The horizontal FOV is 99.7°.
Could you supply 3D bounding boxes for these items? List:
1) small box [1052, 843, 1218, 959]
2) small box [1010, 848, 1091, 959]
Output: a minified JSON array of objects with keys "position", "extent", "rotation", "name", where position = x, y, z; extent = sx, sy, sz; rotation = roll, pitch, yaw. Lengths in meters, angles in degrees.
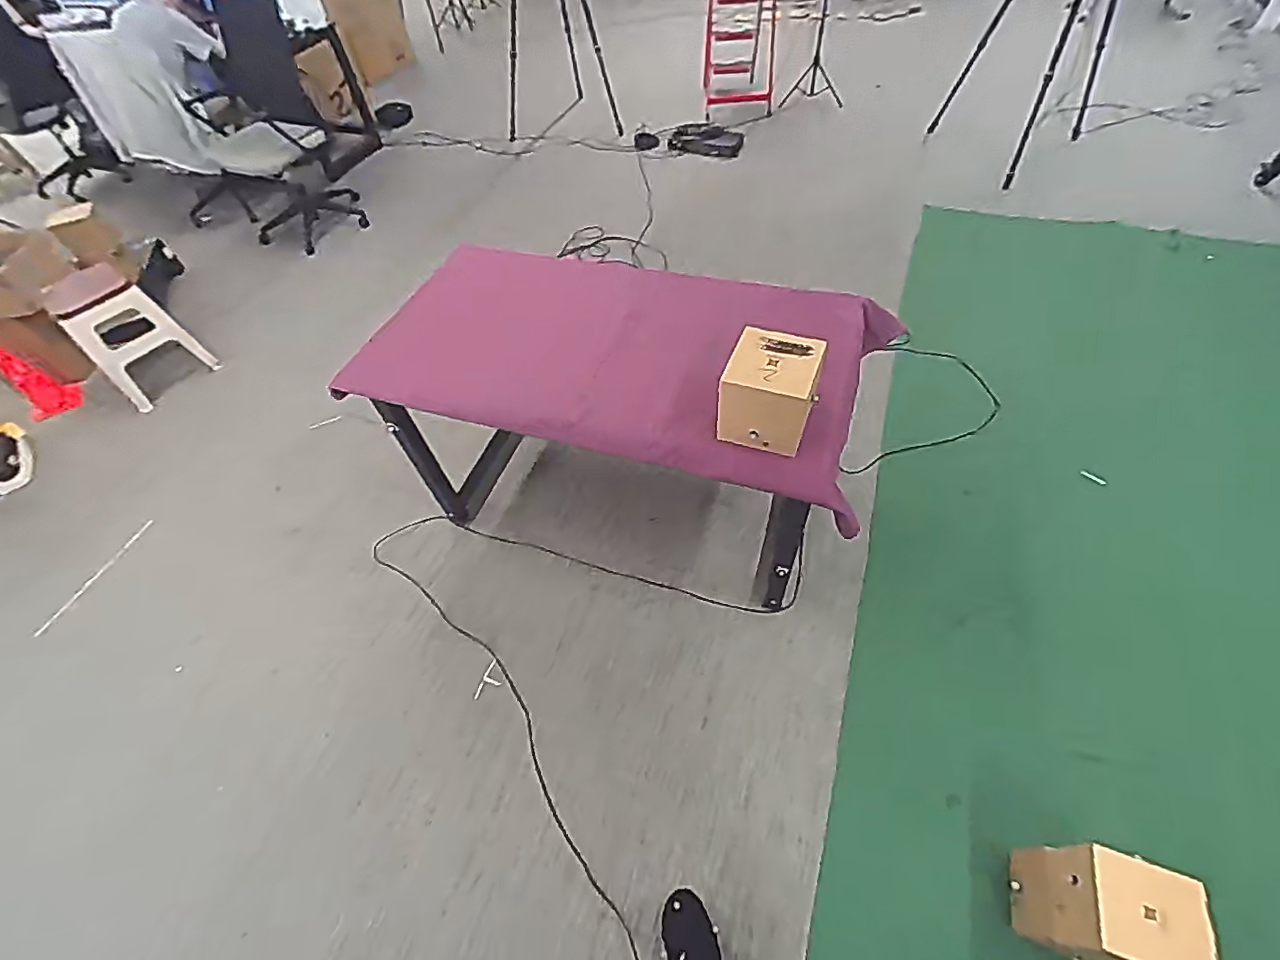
[{"position":[0.904,0.811,1.009],"extent":[0.179,0.176,0.168],"rotation":[15,55,14],"name":"small box"},{"position":[0.916,0.906,1.139],"extent":[0.179,0.176,0.168],"rotation":[14,55,16],"name":"small box"}]
